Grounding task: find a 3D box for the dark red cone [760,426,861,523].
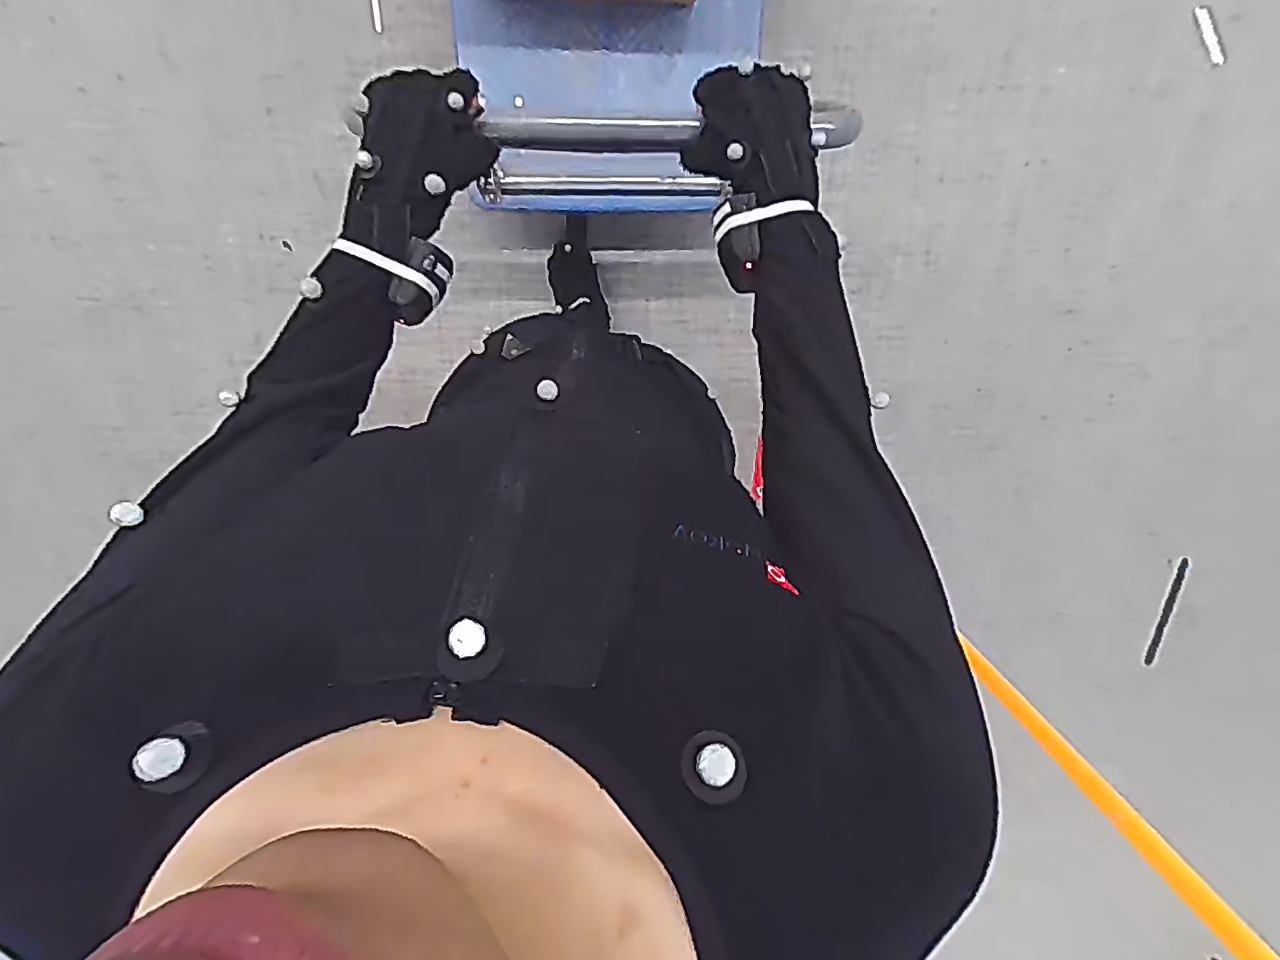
[{"bbox_3d":[0.435,0.009,1.316,0.201,0.394,0.202,0,111,-3],"label":"dark red cone"}]
